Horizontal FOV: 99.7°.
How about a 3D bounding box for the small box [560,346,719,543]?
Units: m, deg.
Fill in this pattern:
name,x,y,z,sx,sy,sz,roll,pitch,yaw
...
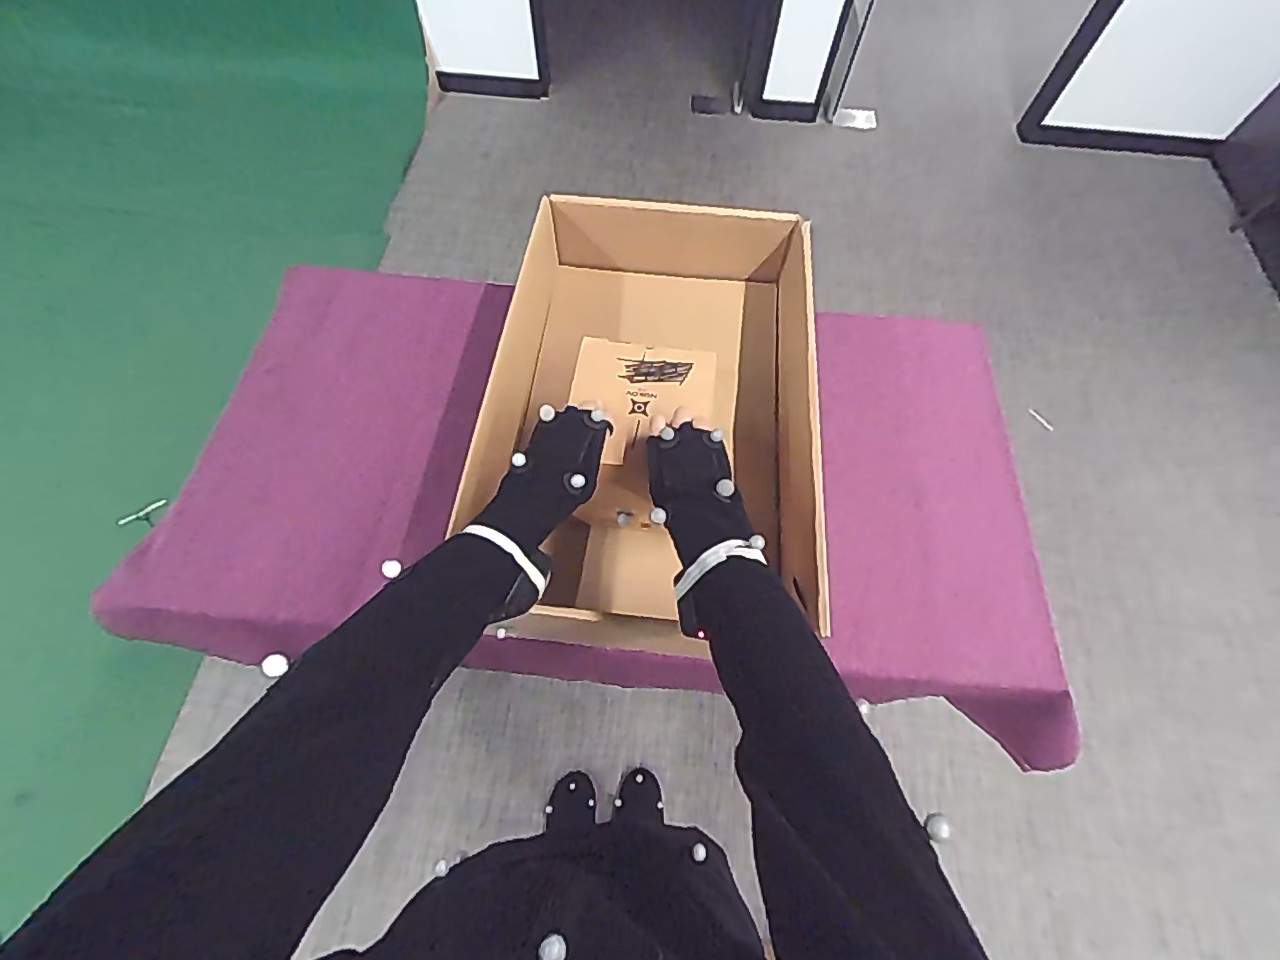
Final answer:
name,x,y,z,sx,sy,sz,roll,pitch,yaw
small box,0.001,-0.040,0.684,0.168,0.176,0.179,7,62,2
